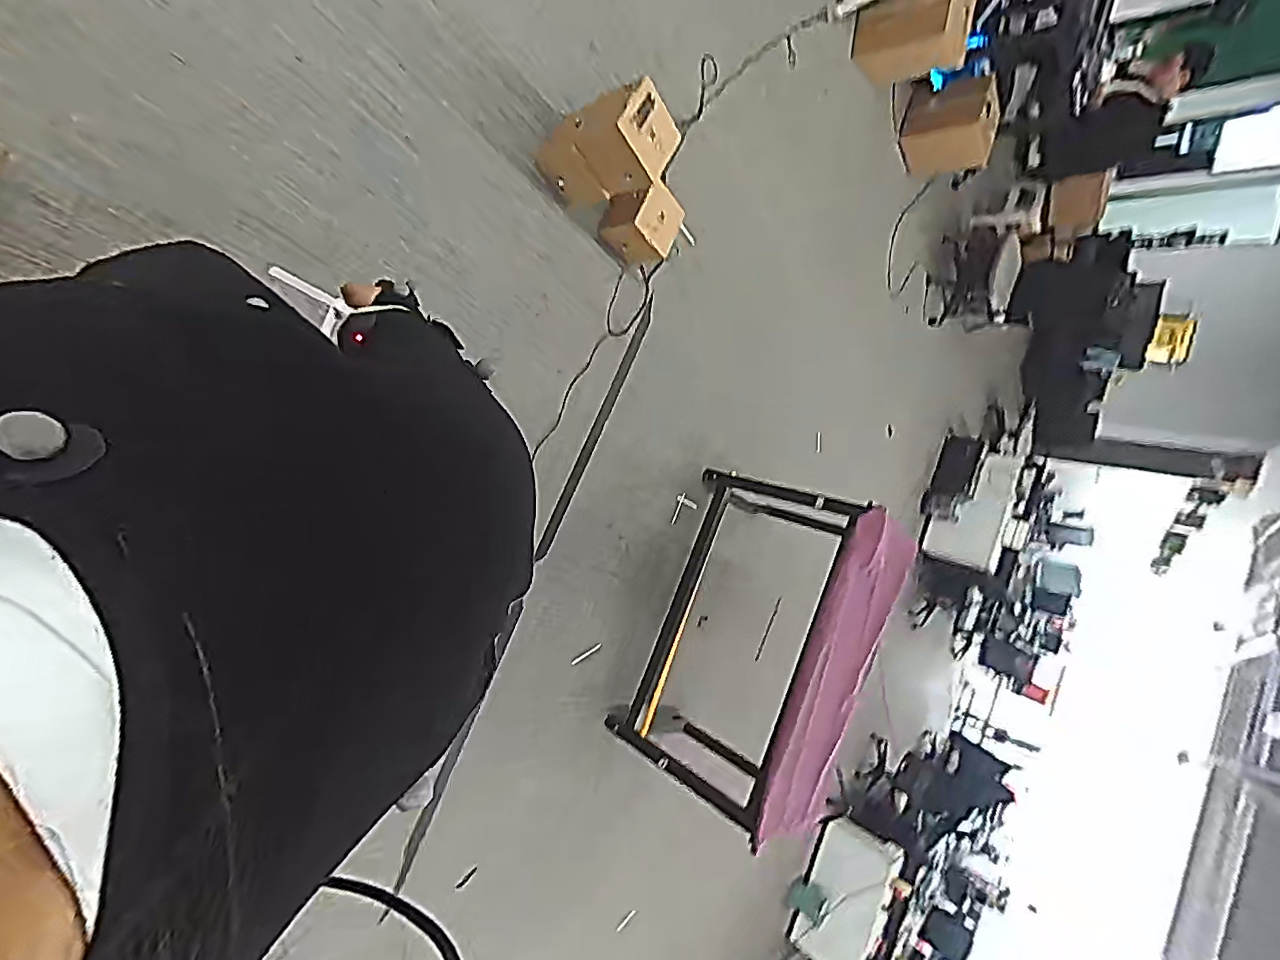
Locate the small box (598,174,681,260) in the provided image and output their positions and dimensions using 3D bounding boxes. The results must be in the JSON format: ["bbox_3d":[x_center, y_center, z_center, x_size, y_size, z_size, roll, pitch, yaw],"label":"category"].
[{"bbox_3d":[-0.005,-0.823,1.708,0.168,0.176,0.179,32,78,-45],"label":"small box"}]

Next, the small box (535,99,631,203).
[{"bbox_3d":[-0.162,-0.911,1.513,0.168,0.176,0.179,40,73,-45],"label":"small box"}]
